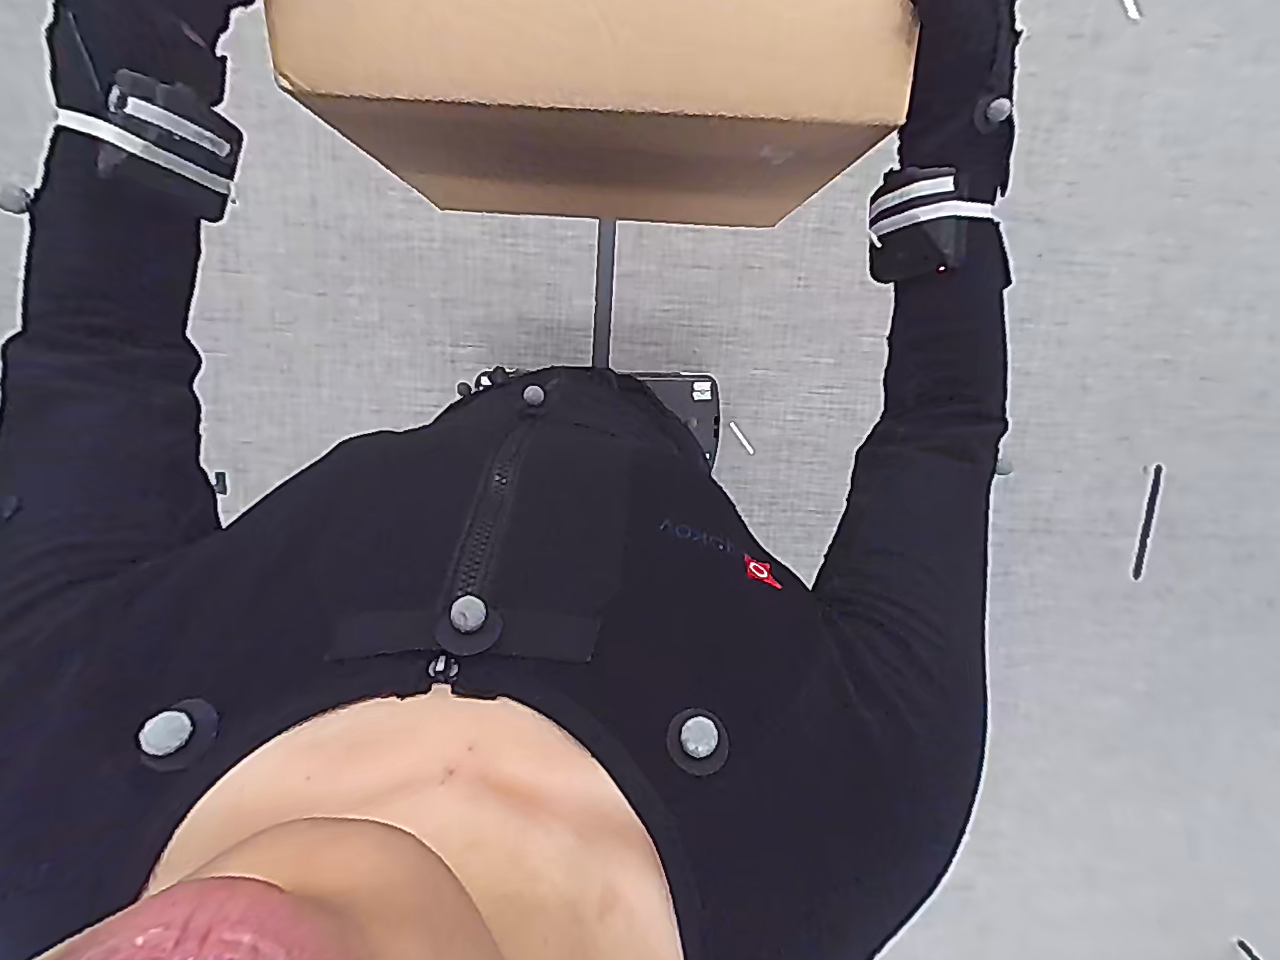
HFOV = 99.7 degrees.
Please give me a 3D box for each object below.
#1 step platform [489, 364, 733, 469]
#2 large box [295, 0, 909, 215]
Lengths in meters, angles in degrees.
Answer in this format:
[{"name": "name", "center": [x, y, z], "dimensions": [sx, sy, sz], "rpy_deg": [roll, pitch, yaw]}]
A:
[{"name": "step platform", "center": [-0.079, -0.183, 1.549], "dimensions": [0.684, 0.204, 0.286], "rpy_deg": [0, 101, -4]}, {"name": "large box", "center": [-0.026, -0.436, 0.470], "dimensions": [0.408, 0.320, 0.320], "rpy_deg": [1, 104, -3]}]
